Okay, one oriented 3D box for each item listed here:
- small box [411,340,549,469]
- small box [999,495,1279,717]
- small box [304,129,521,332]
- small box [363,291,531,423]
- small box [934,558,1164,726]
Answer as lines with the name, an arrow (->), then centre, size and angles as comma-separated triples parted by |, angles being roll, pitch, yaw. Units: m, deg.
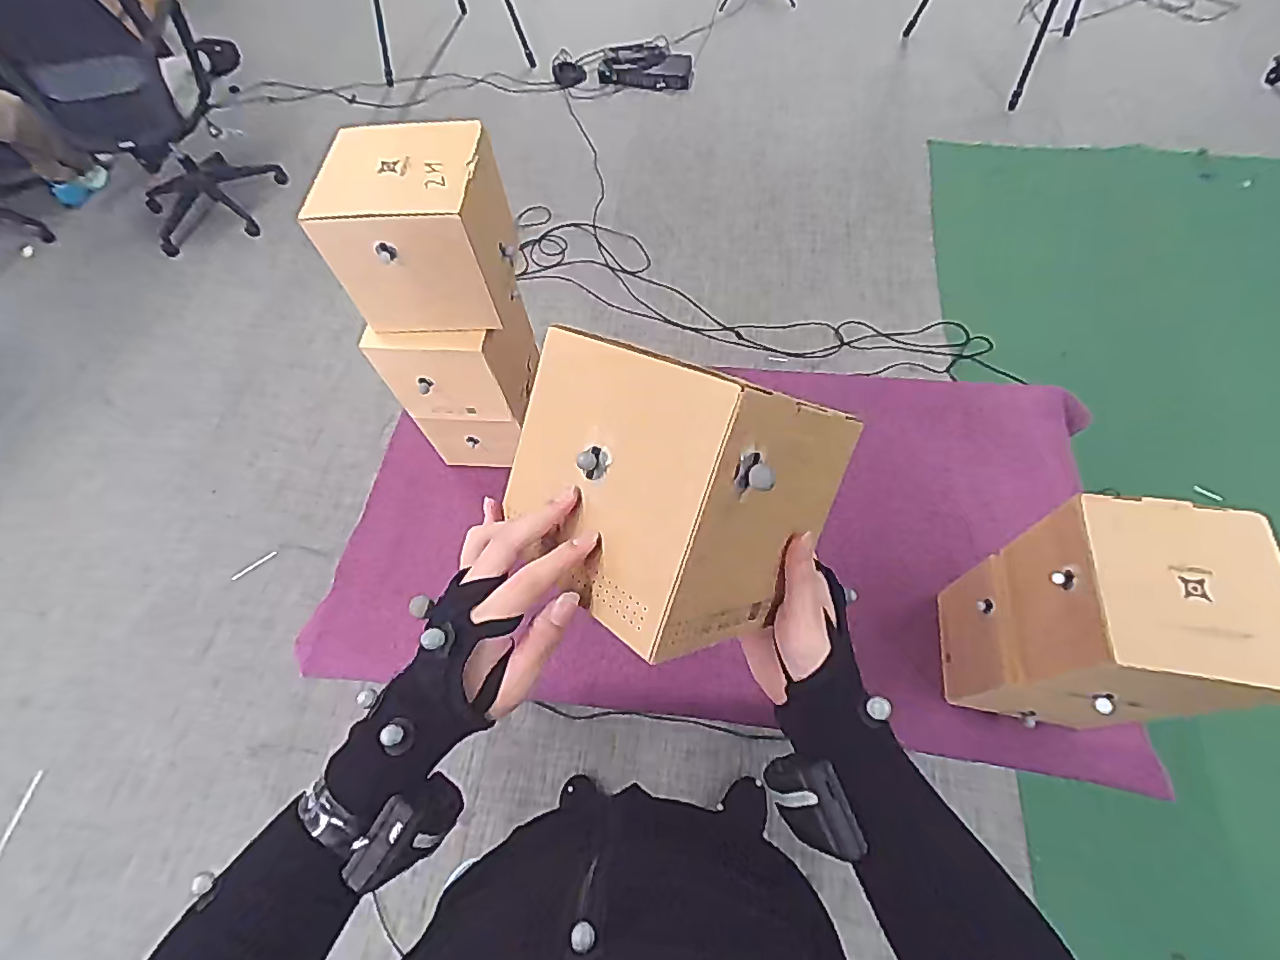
small box -> -0.265, -0.129, 0.949 | 0.179, 0.176, 0.168 | 2, 62, 5
small box -> 0.515, 0.139, 0.577 | 0.168, 0.176, 0.179 | 8, 63, 9
small box -> -0.262, -0.299, 0.669 | 0.179, 0.176, 0.168 | 0, 62, 3
small box -> -0.269, -0.200, 0.803 | 0.168, 0.176, 0.179 | 3, 62, 4
small box -> 0.520, 0.221, 0.718 | 0.179, 0.176, 0.168 | 9, 61, 8
